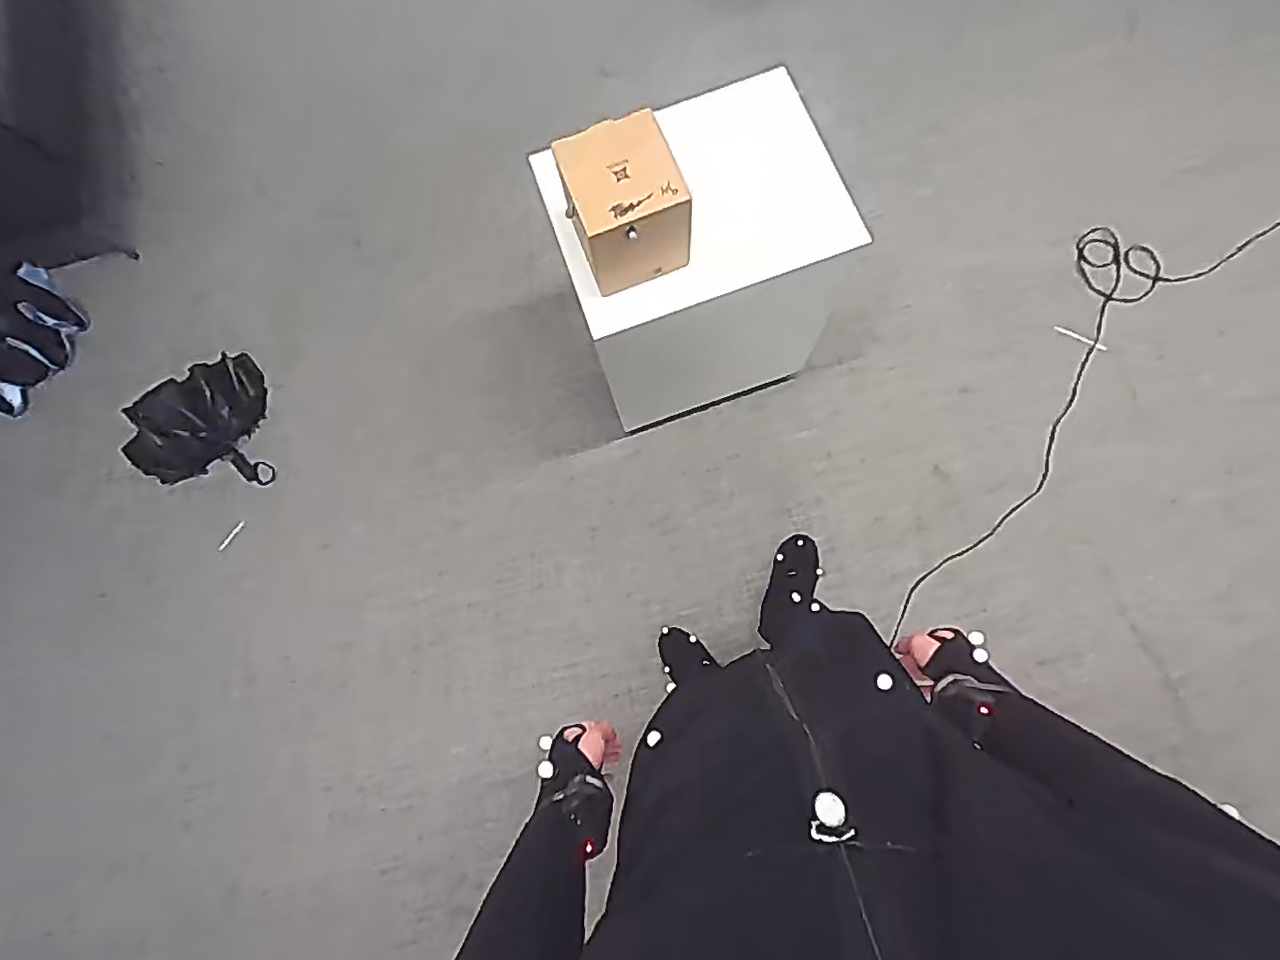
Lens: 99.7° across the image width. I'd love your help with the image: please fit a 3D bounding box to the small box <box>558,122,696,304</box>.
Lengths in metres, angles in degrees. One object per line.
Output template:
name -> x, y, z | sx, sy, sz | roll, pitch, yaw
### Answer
small box -> -0.018, -0.425, 0.884 | 0.168, 0.176, 0.179 | -21, 76, 0
